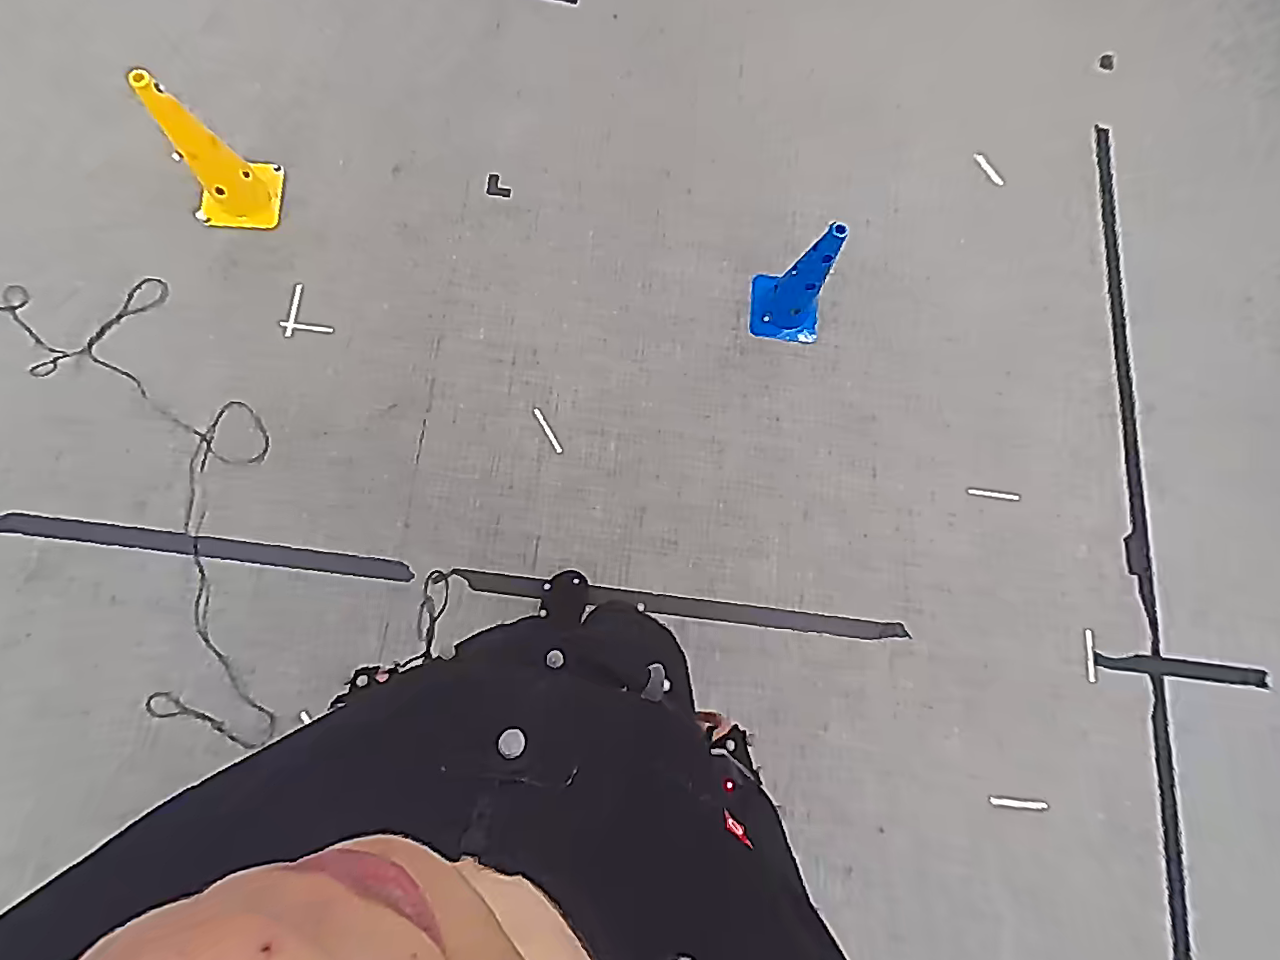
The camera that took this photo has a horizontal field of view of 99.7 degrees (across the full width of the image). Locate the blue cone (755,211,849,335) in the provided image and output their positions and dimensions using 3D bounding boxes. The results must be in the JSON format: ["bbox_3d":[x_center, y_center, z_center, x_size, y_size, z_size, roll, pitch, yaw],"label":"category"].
[{"bbox_3d":[0.441,-0.547,1.402,0.193,0.380,0.192,8,77,-4],"label":"blue cone"}]

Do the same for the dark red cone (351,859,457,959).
[{"bbox_3d":[-0.486,0.896,1.003,0.202,0.394,0.201,0,78,-5],"label":"dark red cone"}]
